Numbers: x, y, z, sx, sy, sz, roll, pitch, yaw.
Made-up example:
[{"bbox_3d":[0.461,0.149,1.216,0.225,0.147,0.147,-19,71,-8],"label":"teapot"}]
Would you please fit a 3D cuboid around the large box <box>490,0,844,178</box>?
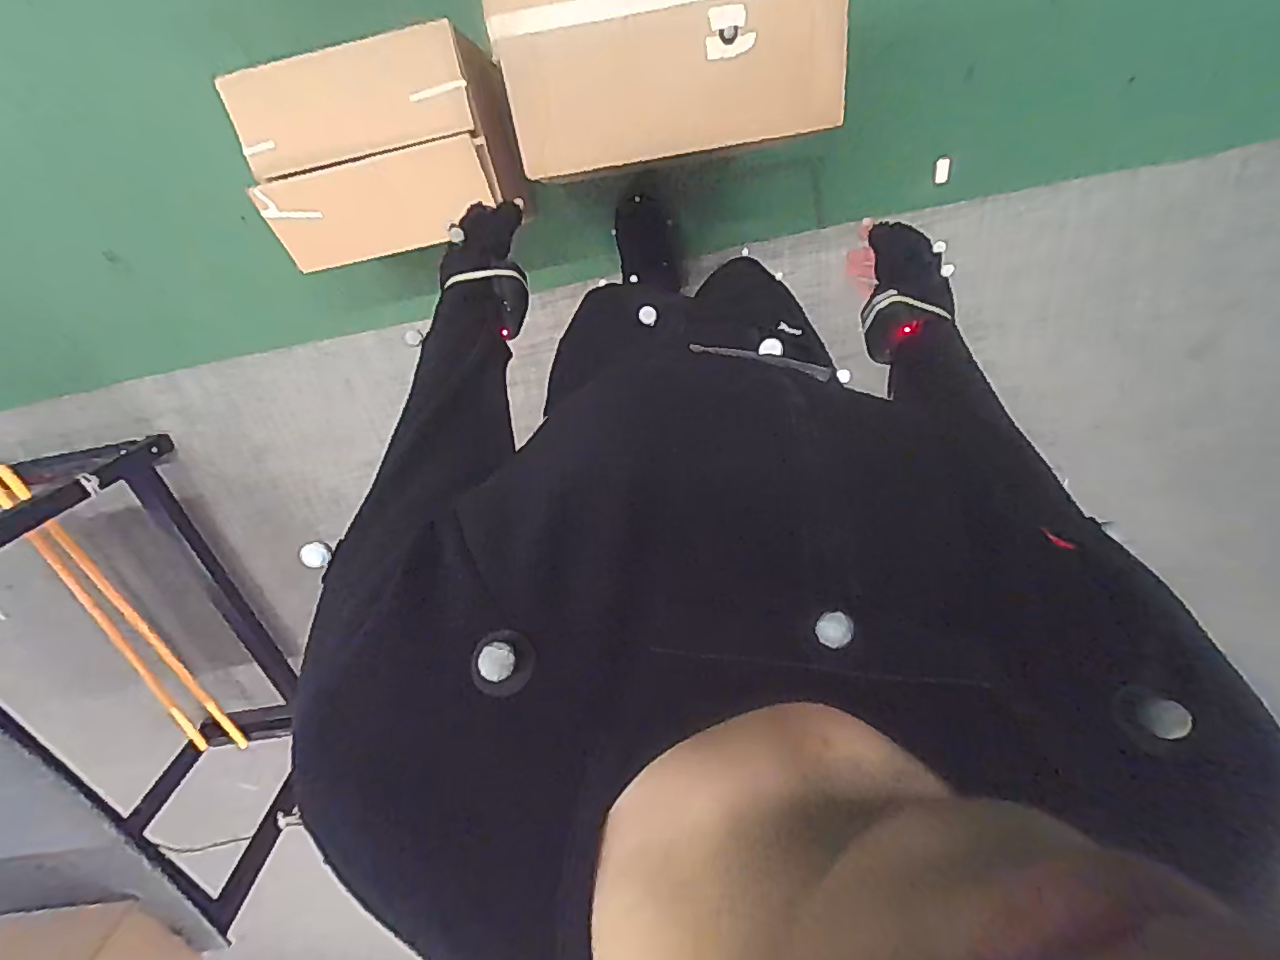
[{"bbox_3d":[0.024,-0.622,0.733,0.408,0.320,0.320,-9,119,2],"label":"large box"}]
